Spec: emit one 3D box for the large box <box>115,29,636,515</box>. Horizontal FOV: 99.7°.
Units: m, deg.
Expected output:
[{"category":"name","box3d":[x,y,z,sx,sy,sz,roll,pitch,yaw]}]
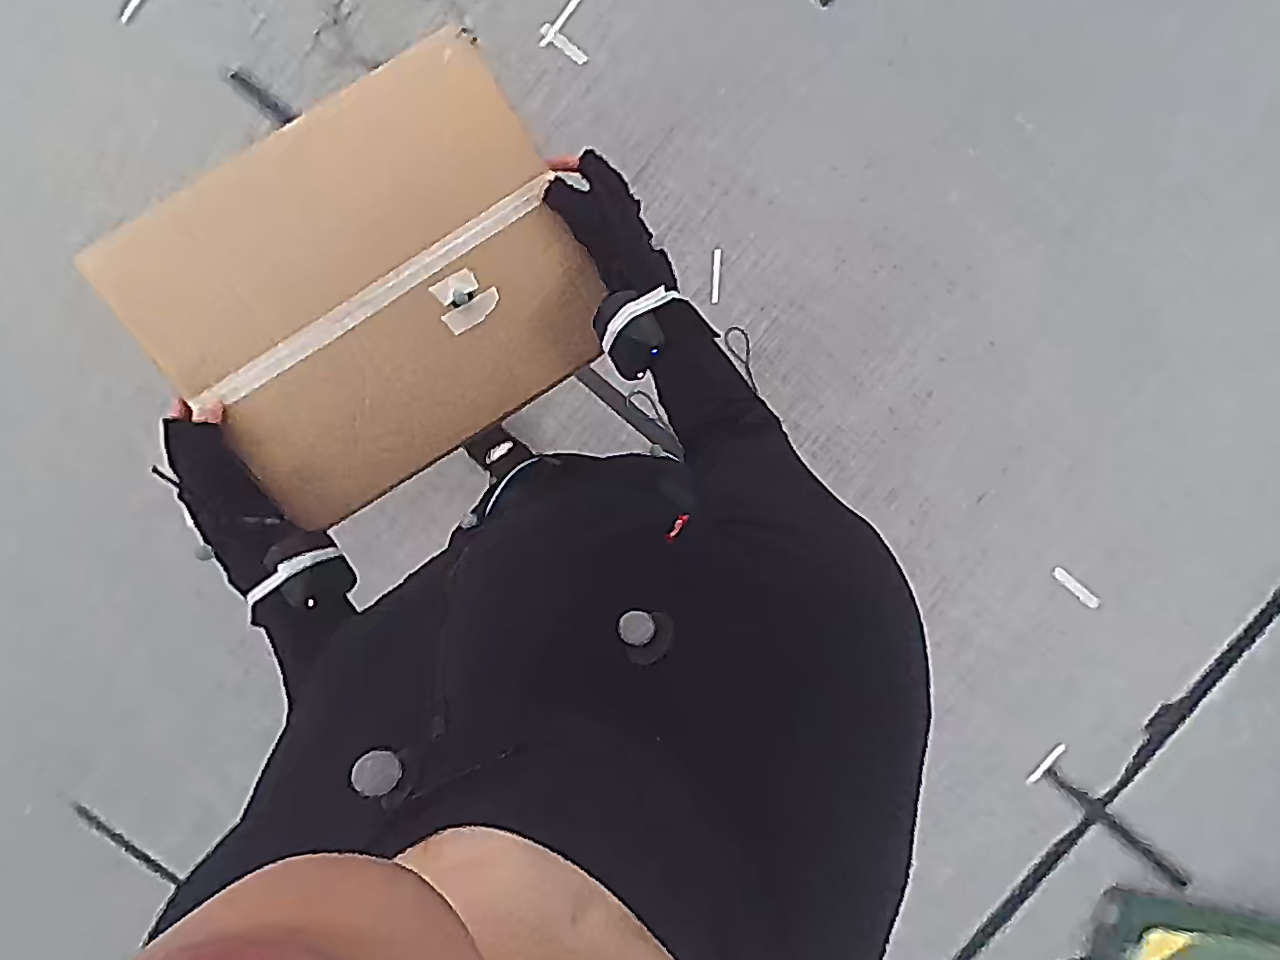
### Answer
[{"category":"large box","box3d":[-0.265,-0.216,0.678,0.408,0.320,0.320,-32,103,-1]}]
